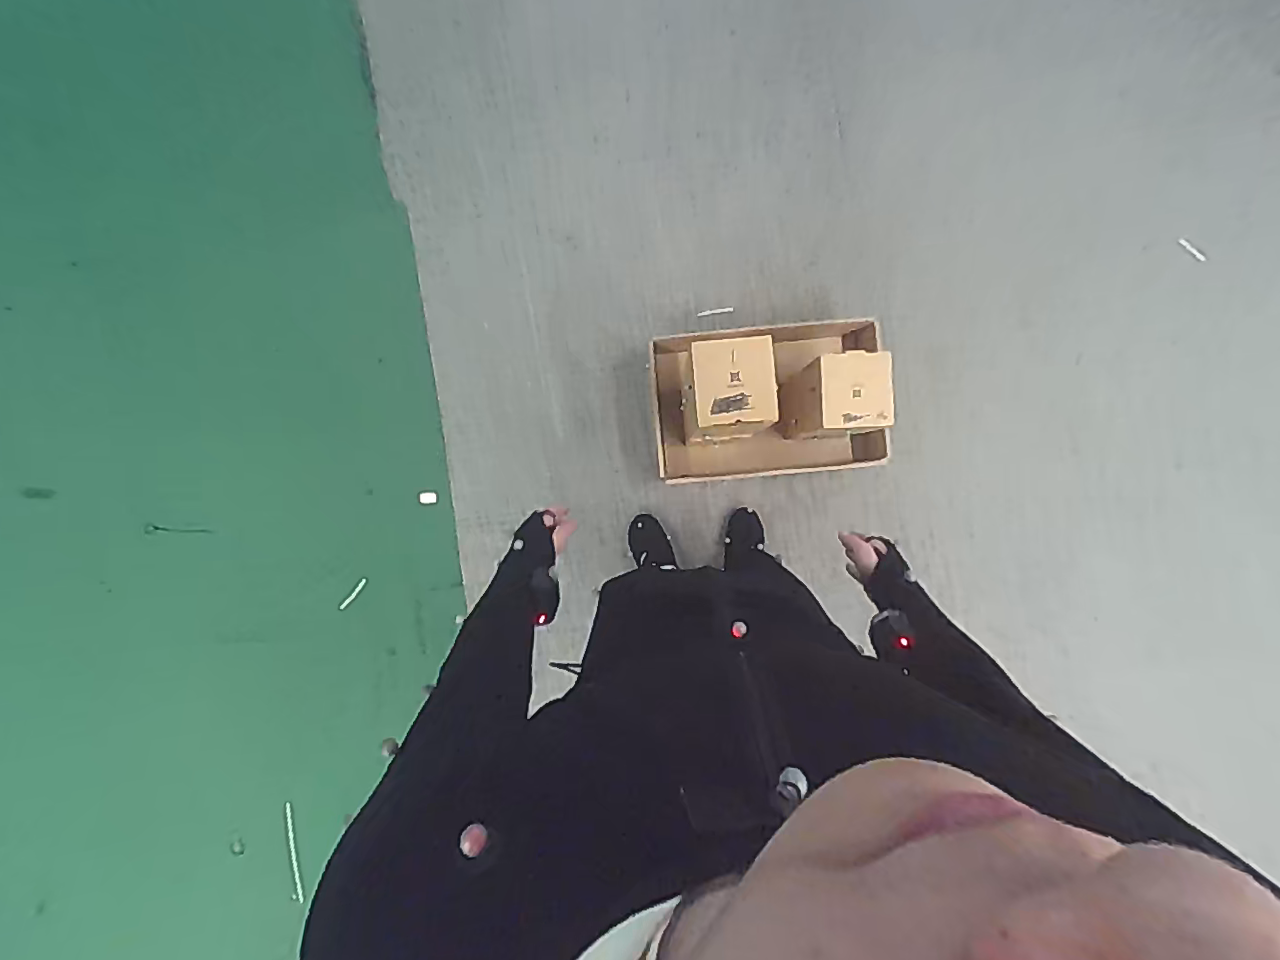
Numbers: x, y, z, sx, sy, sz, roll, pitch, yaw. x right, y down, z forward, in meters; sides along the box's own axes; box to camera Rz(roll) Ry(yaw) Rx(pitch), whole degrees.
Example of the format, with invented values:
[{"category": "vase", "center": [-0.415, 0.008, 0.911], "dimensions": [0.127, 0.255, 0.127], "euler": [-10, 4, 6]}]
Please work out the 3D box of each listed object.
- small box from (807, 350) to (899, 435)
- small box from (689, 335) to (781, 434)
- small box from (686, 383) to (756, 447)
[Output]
[{"category": "small box", "center": [0.509, -0.207, 1.313], "dimensions": [0.168, 0.176, 0.179], "euler": [-2, 89, 2]}, {"category": "small box", "center": [0.197, -0.195, 1.158], "dimensions": [0.168, 0.176, 0.179], "euler": [-5, 87, 1]}, {"category": "small box", "center": [0.217, -0.190, 1.486], "dimensions": [0.168, 0.176, 0.179], "euler": [-4, 88, 2]}]
